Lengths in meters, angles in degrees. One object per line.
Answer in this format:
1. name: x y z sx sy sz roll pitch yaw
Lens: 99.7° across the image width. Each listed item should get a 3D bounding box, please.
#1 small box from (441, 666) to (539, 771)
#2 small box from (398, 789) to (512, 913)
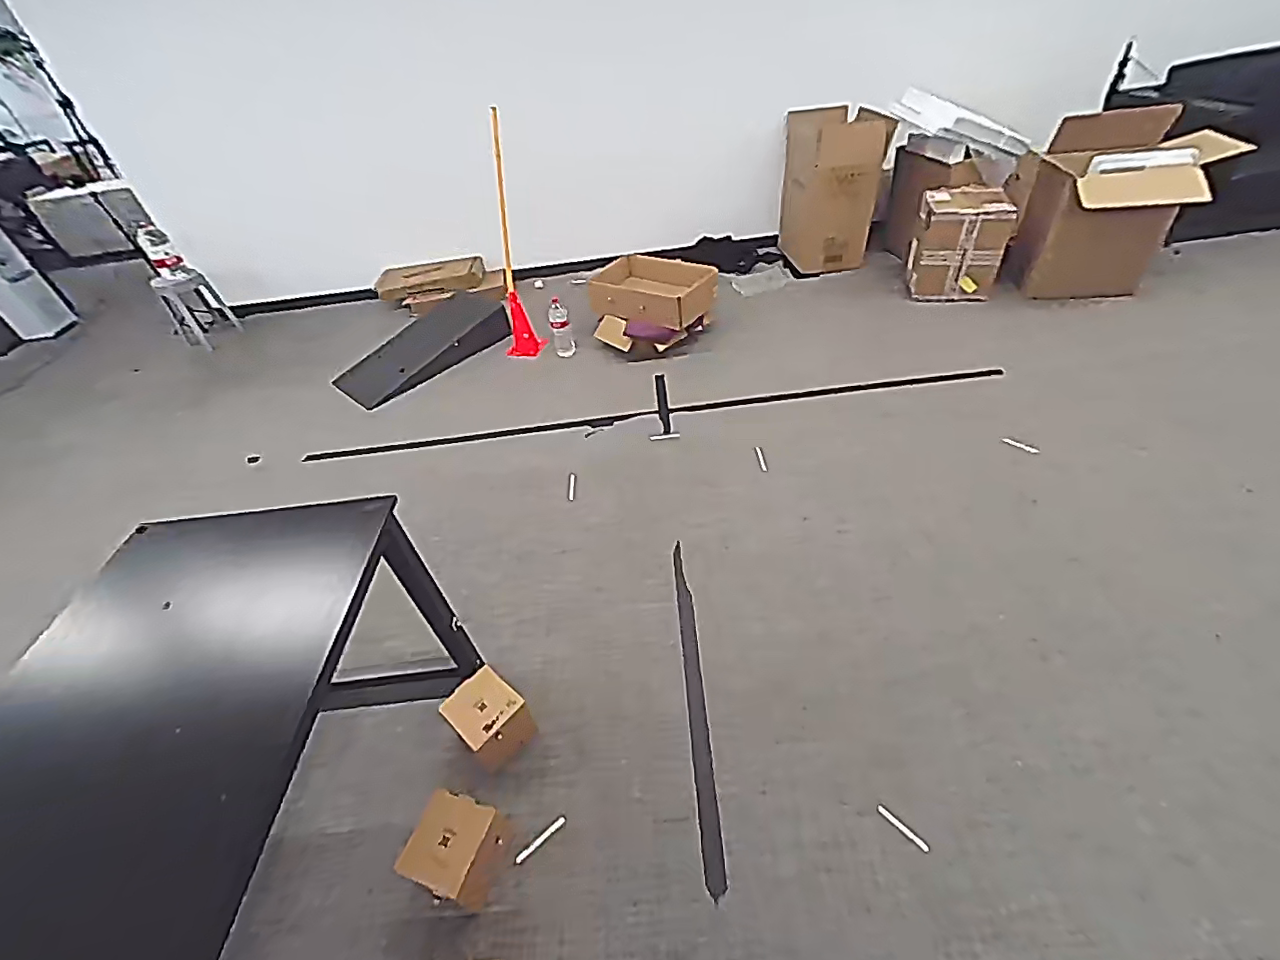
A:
1. small box: -0.406 0.655 1.478 0.179 0.176 0.168 27 53 33
2. small box: -0.416 0.862 1.256 0.168 0.176 0.179 8 45 18
